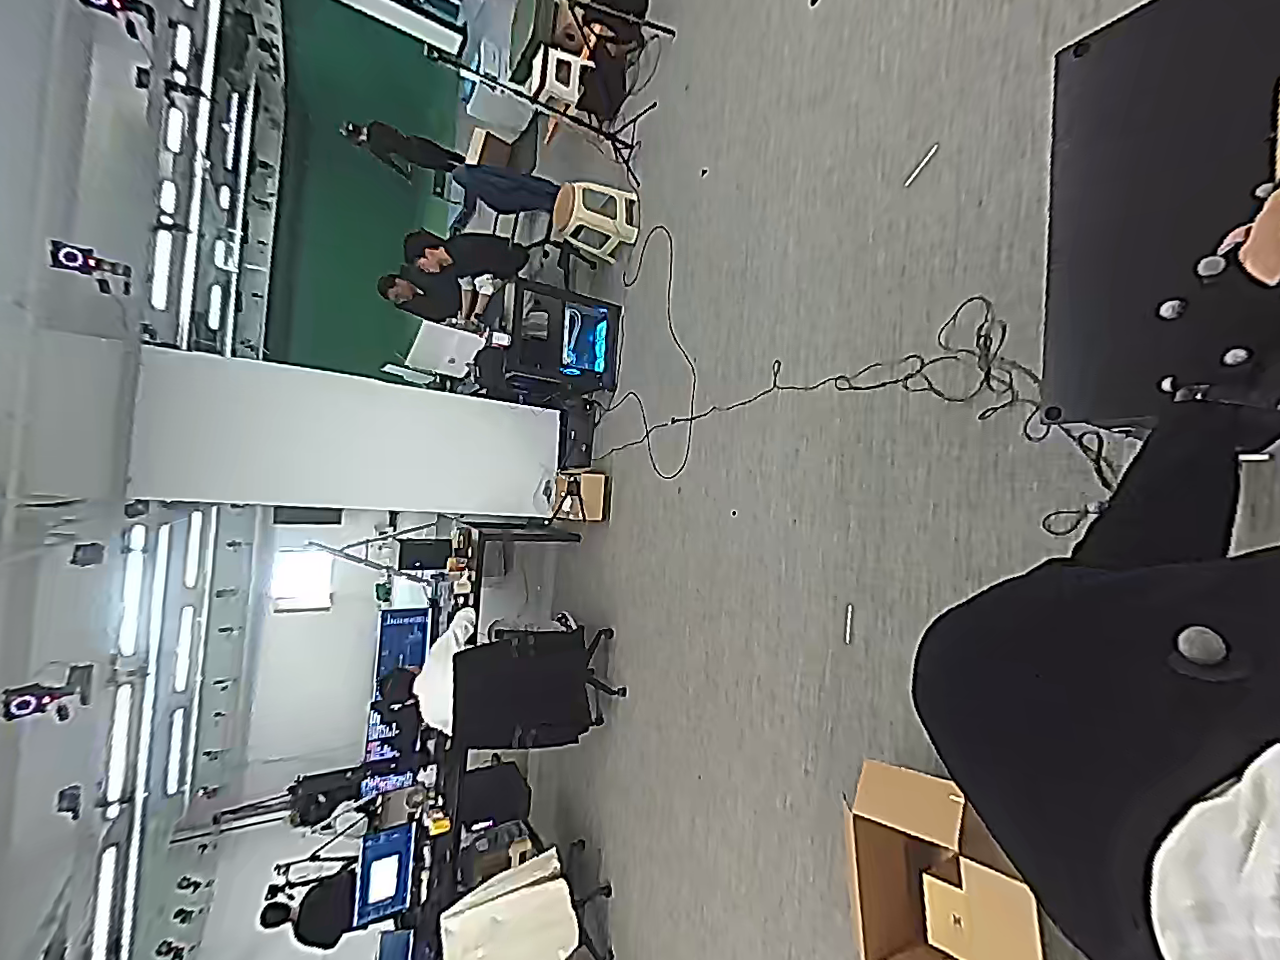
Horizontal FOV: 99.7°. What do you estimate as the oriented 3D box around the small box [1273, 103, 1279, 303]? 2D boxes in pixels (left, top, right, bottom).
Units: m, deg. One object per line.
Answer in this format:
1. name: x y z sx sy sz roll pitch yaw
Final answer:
1. small box: 0.643 -0.249 0.439 0.168 0.176 0.179 -2 84 50
